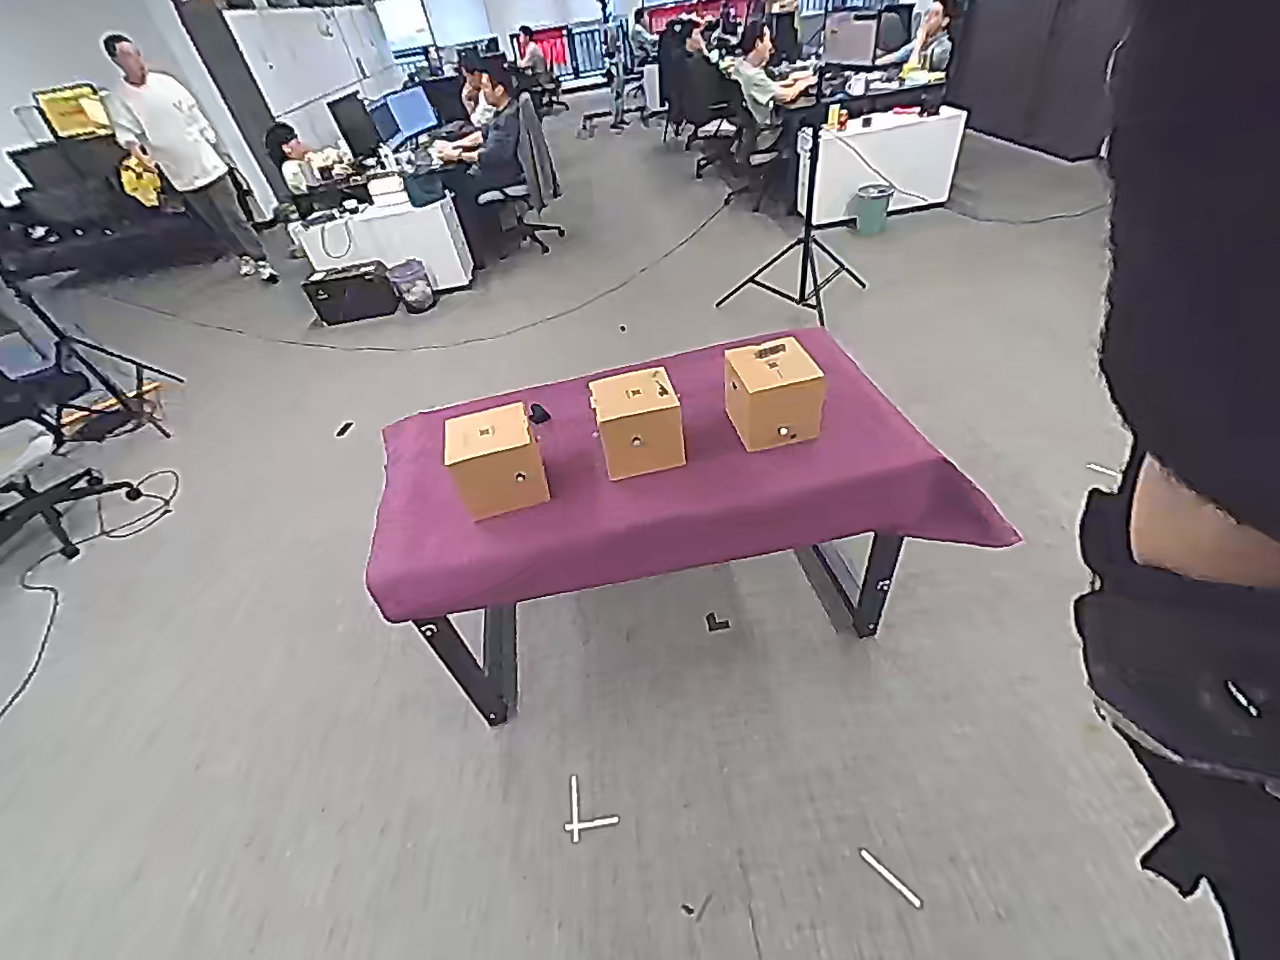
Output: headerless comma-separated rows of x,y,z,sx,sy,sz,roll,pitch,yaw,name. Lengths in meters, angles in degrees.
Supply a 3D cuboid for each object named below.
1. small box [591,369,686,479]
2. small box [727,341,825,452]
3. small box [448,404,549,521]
-0.003,-0.123,1.222,0.179,0.176,0.168,-13,42,-2,small box
0.301,-0.190,1.234,0.168,0.176,0.179,-13,42,-3,small box
-0.305,-0.037,1.188,0.179,0.176,0.168,-16,41,-6,small box
